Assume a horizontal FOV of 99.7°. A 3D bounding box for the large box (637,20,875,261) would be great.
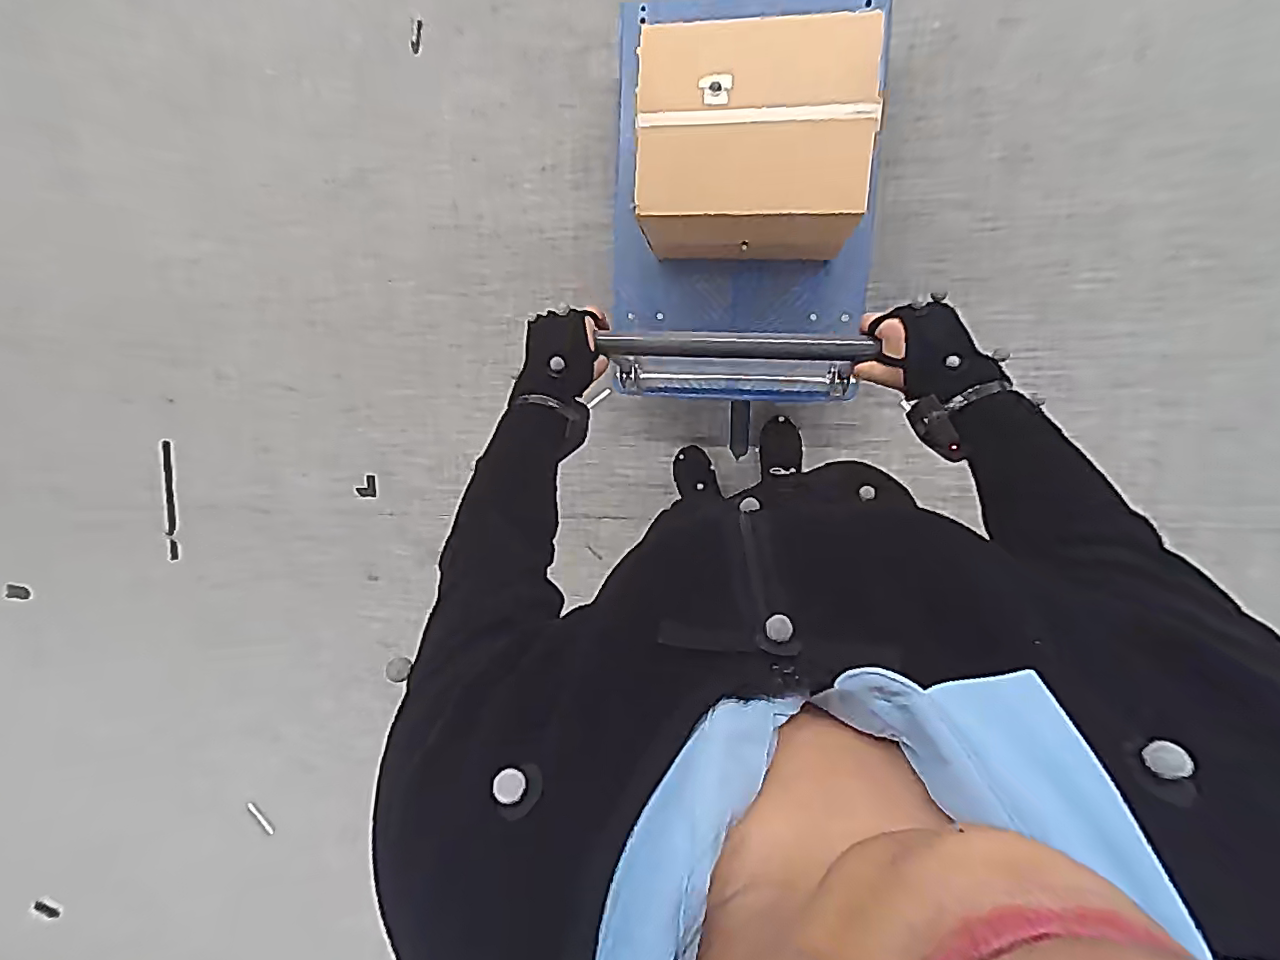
[{"bbox_3d":[0.221,-0.641,1.094,0.408,0.320,0.320,4,97,10],"label":"large box"}]
